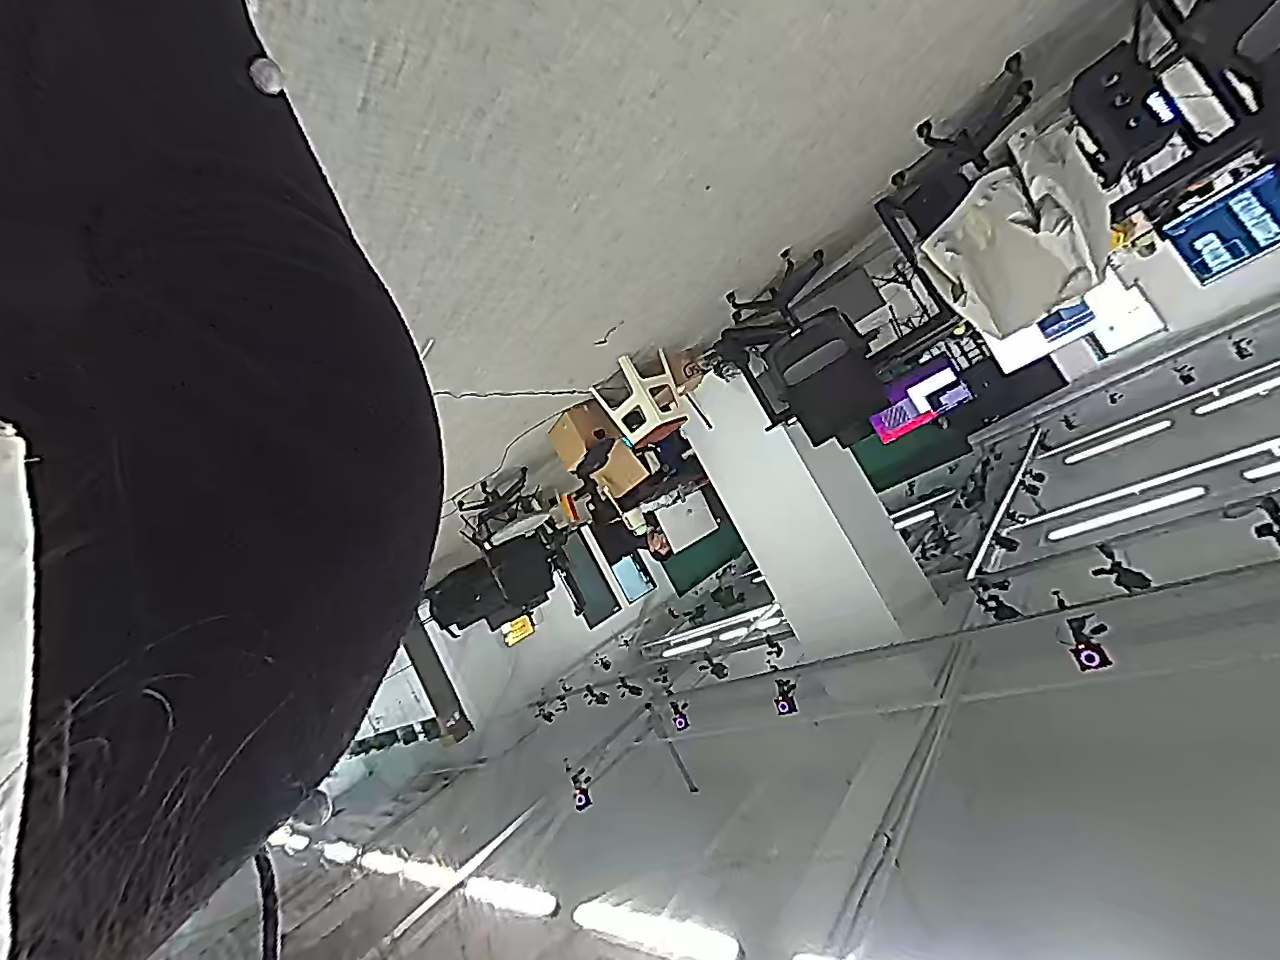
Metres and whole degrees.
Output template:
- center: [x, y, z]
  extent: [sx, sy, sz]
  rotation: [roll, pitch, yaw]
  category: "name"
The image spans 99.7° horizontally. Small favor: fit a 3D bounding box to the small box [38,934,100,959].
- center: [-1.691, 1.461, 1.560]
  extent: [0.179, 0.176, 0.168]
  rotation: [-22, 173, -43]
  category: "small box"
